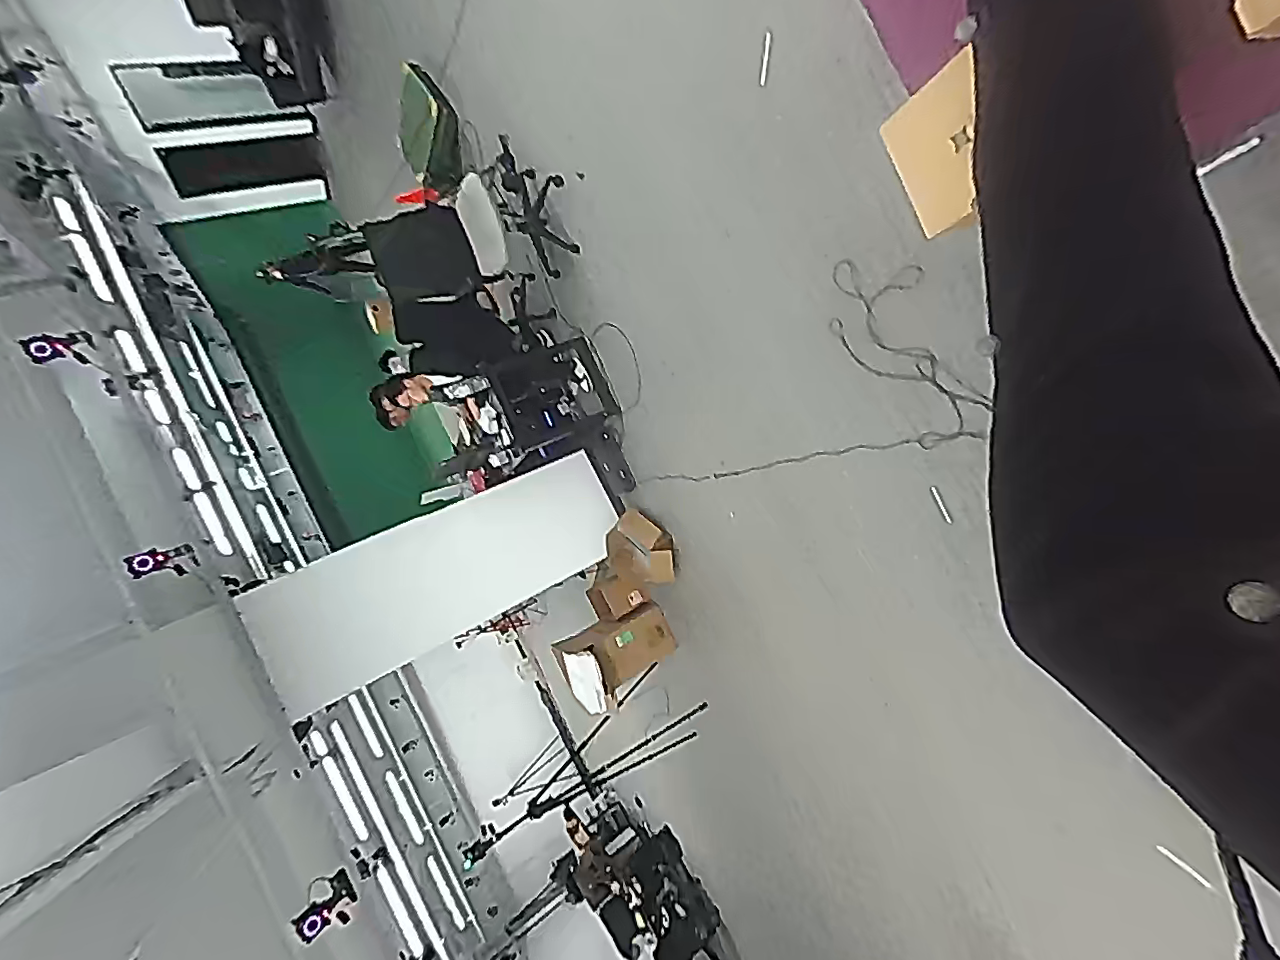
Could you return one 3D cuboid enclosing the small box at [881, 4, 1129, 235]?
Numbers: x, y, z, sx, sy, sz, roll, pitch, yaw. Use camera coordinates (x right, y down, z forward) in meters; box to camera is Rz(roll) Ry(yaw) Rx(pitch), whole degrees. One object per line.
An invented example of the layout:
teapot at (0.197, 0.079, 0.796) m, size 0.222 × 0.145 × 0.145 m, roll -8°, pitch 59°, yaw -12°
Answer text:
small box at (0.452, -0.442, 0.680) m, size 0.168 × 0.176 × 0.179 m, roll 65°, pitch 153°, yaw -1°
